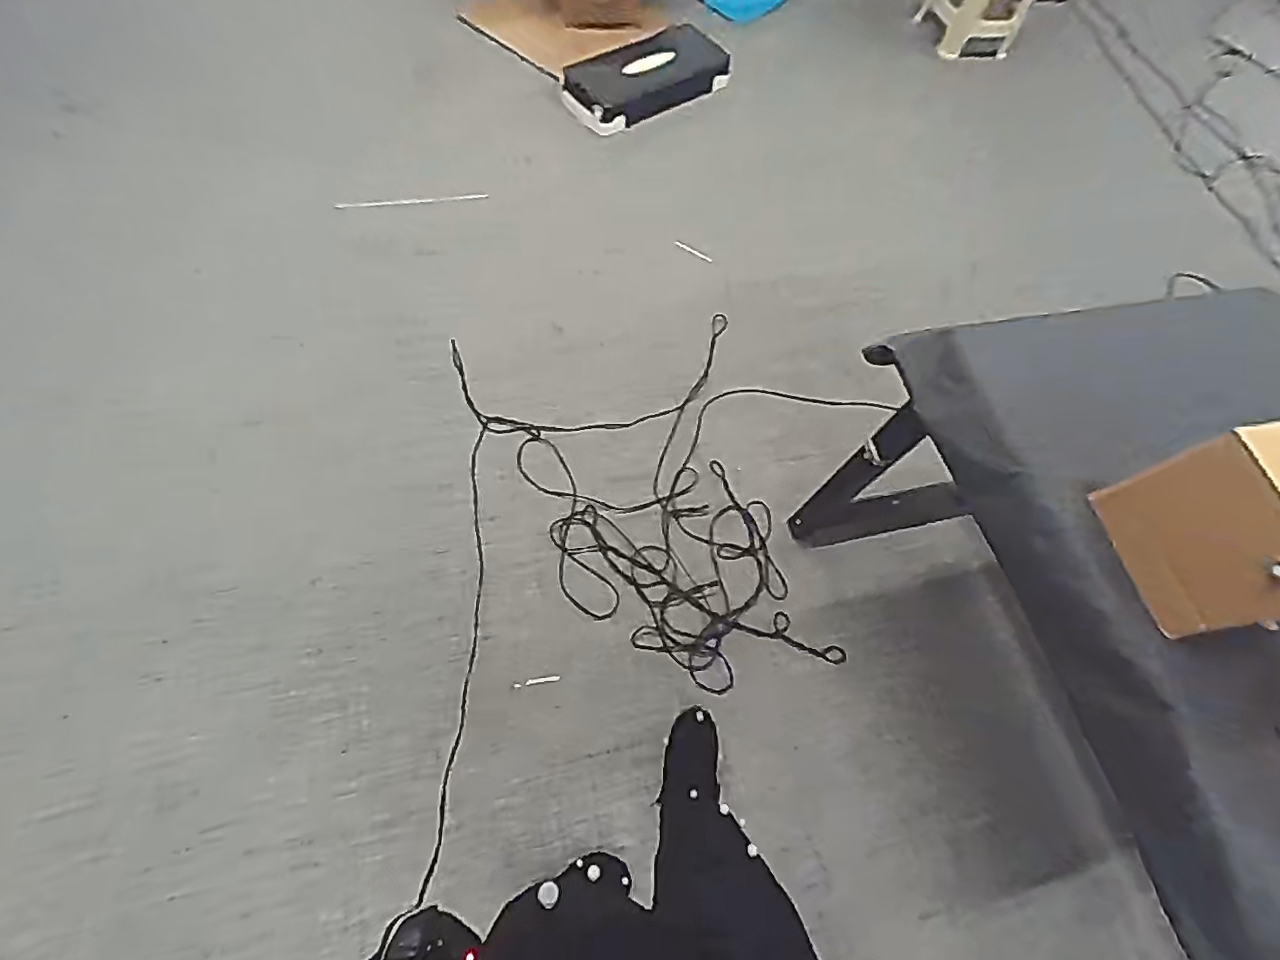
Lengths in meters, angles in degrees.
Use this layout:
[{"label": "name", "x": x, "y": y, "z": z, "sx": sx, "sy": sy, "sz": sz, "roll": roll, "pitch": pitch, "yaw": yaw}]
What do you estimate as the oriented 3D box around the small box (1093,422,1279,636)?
[{"label": "small box", "x": 0.647, "y": 0.052, "z": 0.572, "sx": 0.168, "sy": 0.176, "sz": 0.179, "roll": -7, "pitch": 67, "yaw": -11}]
